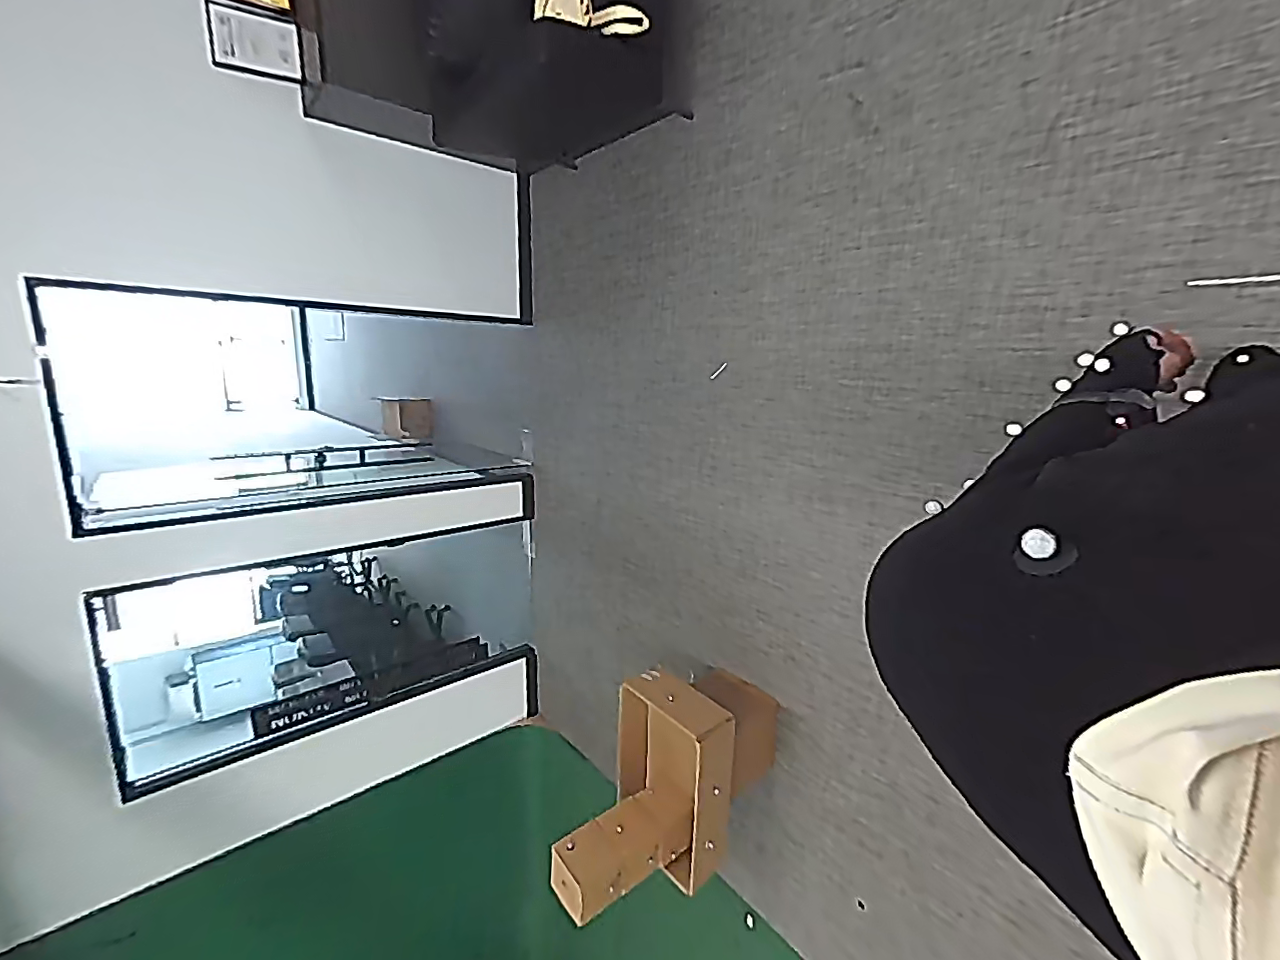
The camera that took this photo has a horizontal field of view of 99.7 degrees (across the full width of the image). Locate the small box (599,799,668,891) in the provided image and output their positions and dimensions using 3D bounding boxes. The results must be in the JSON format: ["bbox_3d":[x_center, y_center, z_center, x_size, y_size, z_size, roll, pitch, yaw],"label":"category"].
[{"bbox_3d":[-0.026,1.230,1.844,0.179,0.176,0.168,19,112,48],"label":"small box"}]

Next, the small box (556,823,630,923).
[{"bbox_3d":[-0.154,1.250,1.742,0.179,0.176,0.168,22,114,47],"label":"small box"}]
